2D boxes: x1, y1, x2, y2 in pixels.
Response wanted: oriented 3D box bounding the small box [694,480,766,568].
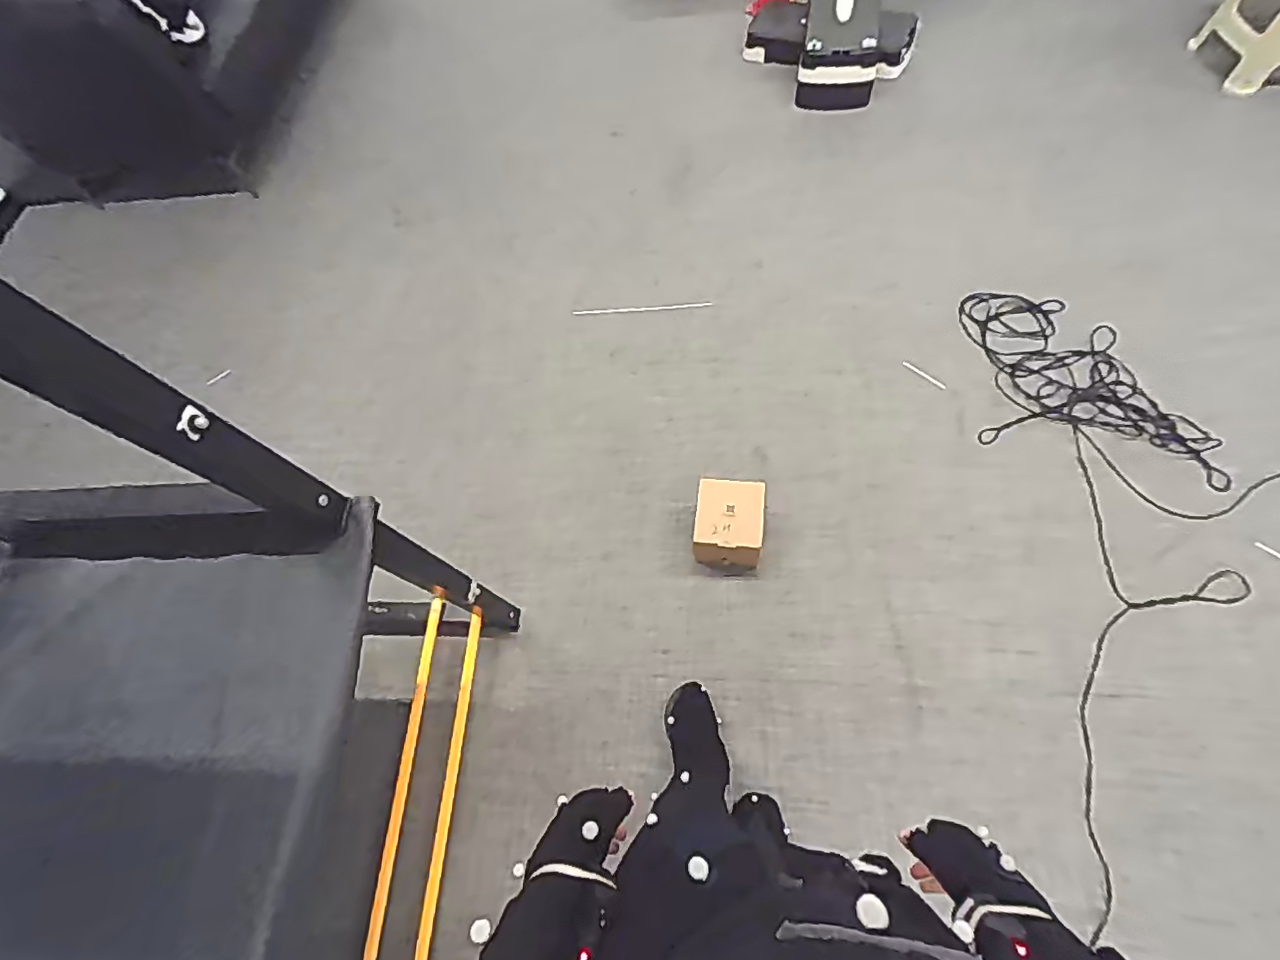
[{"bbox_3d":[0.234,0.117,1.408,0.168,0.176,0.179,4,66,11],"label":"small box"}]
